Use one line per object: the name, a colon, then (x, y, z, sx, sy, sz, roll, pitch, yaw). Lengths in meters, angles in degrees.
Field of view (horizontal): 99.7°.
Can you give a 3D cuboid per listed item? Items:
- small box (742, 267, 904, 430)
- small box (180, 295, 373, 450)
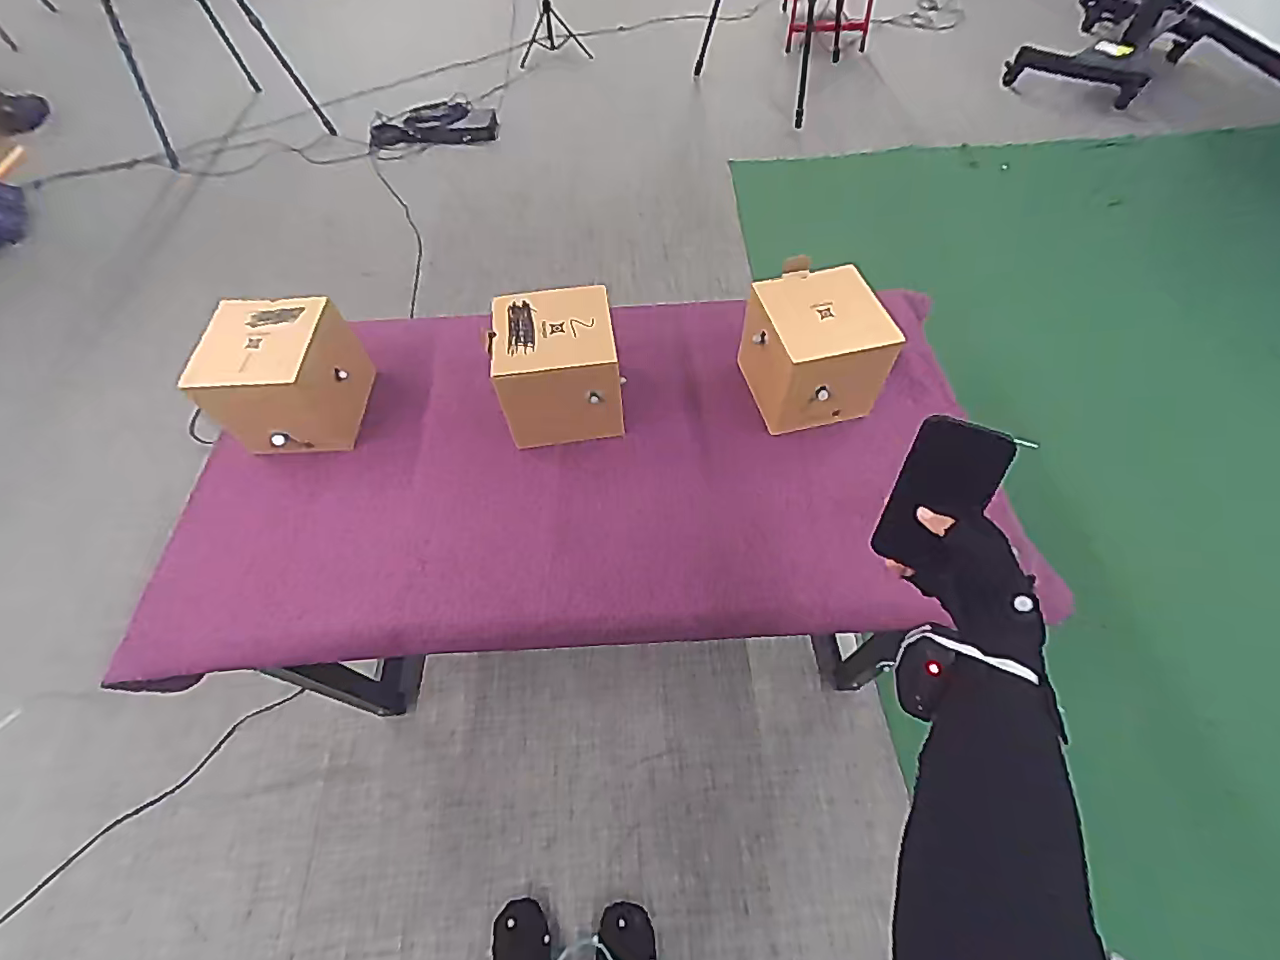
small box: (0.269, -0.195, 0.840, 0.168, 0.176, 0.179, -12, 58, -5)
small box: (-0.545, -0.164, 0.844, 0.168, 0.176, 0.179, -2, 59, 1)
